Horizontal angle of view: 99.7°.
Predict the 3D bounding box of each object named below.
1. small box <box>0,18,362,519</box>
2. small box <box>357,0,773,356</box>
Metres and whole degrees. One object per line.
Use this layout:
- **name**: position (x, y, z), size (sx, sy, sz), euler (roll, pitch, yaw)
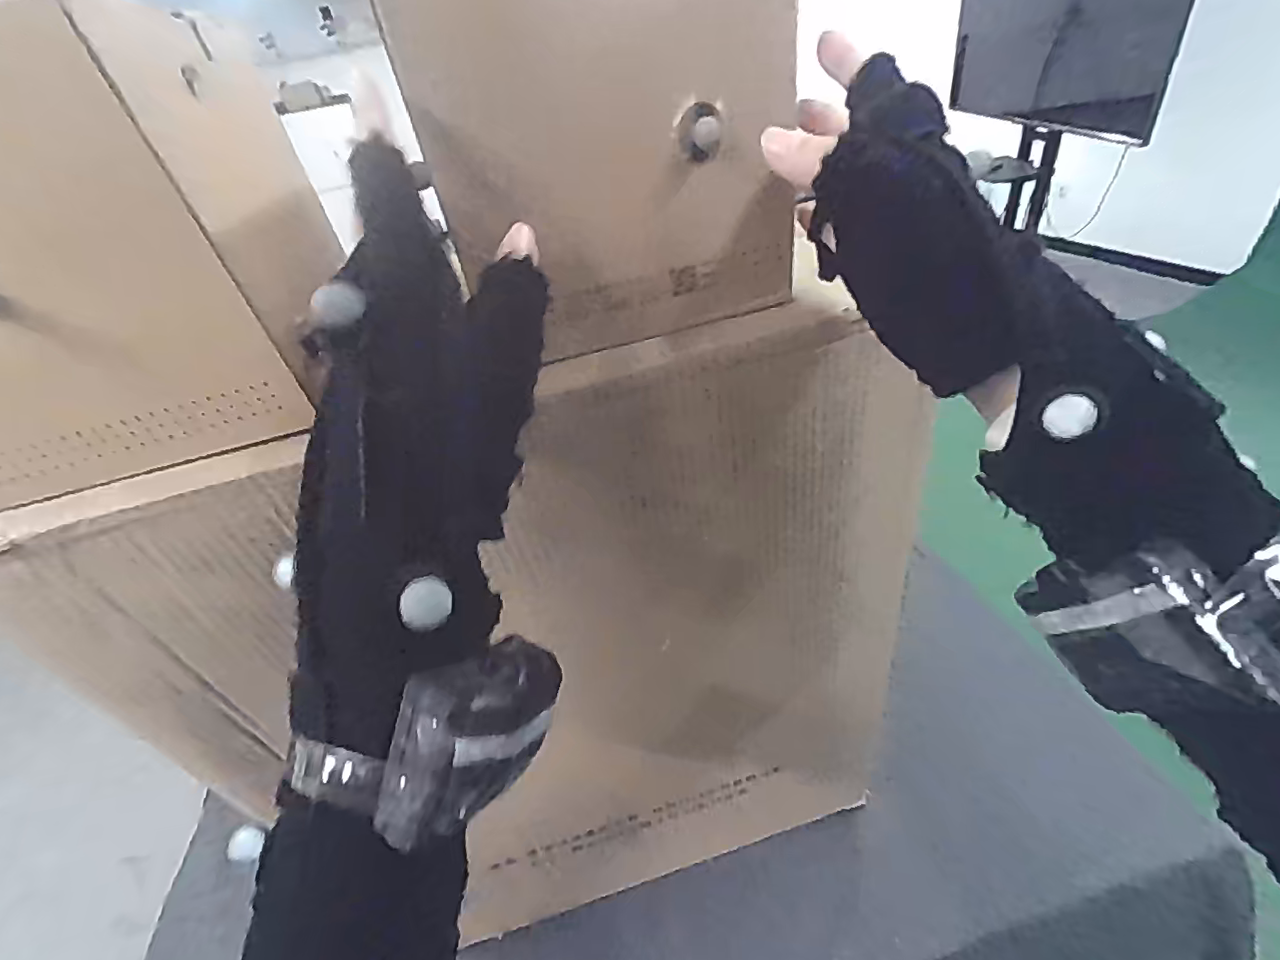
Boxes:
- **small box**: position (-0.268, -0.109, 0.275), size (0.179, 0.176, 0.168), euler (-18, 40, -8)
- **small box**: position (-0.031, -0.185, 0.309), size (0.168, 0.176, 0.179), euler (-15, 38, -6)
